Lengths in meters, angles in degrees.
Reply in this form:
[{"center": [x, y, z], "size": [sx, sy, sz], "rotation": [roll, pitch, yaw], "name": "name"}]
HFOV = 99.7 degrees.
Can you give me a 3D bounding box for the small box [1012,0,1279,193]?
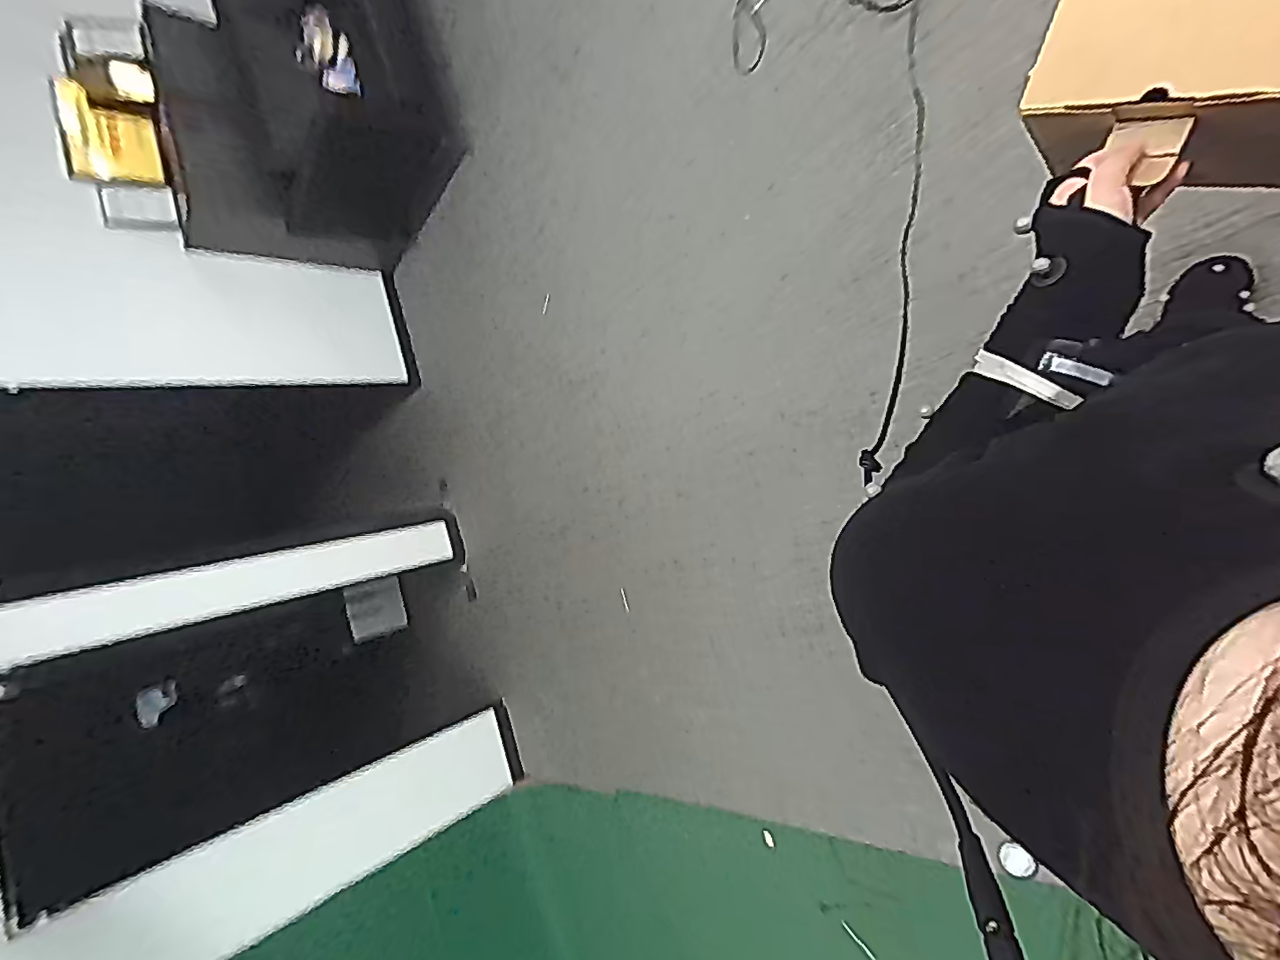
[{"center": [0.419, -0.337, 0.404], "size": [0.168, 0.176, 0.179], "rotation": [28, 113, 41], "name": "small box"}]
